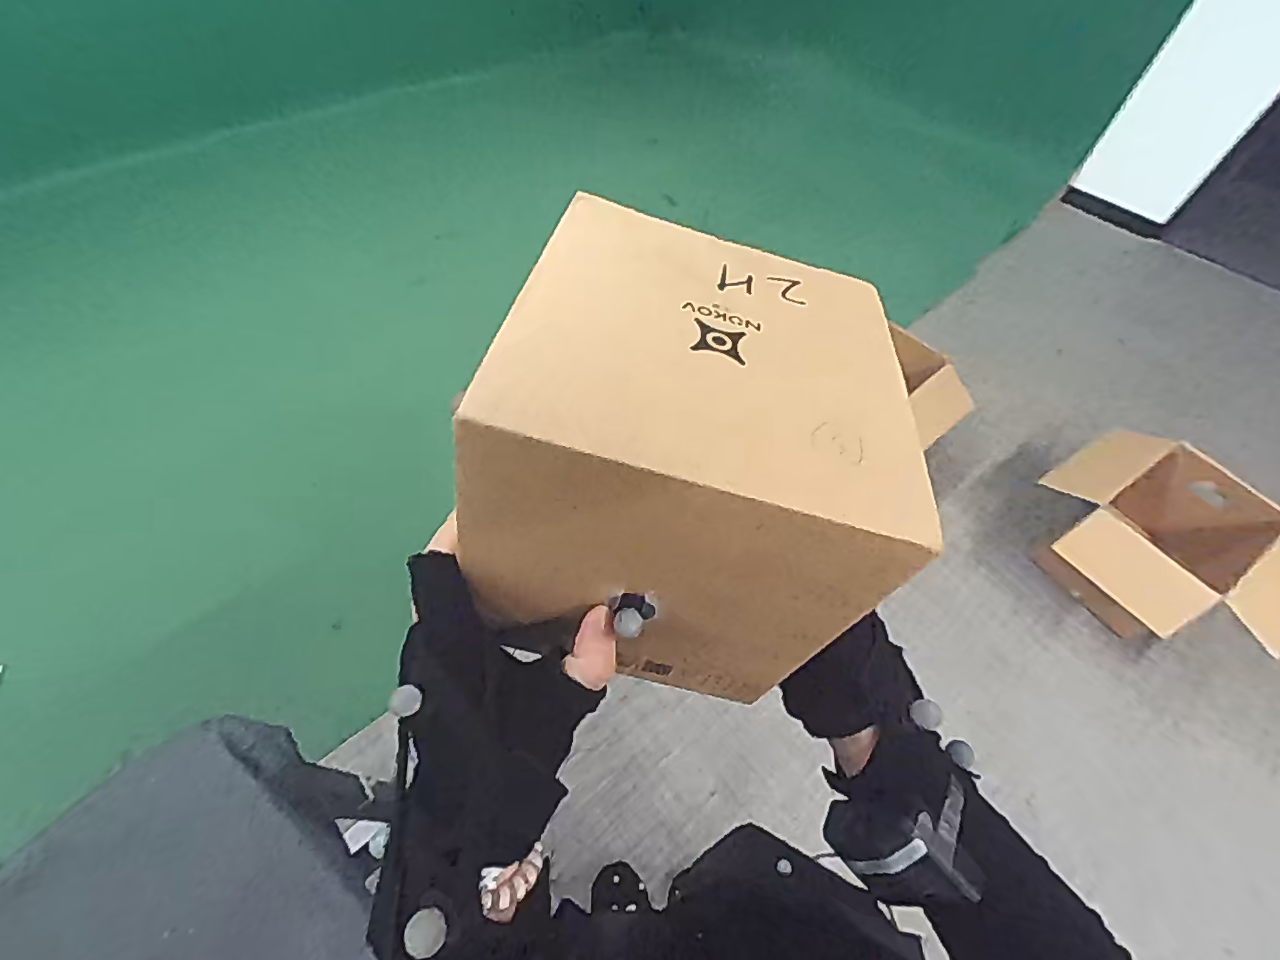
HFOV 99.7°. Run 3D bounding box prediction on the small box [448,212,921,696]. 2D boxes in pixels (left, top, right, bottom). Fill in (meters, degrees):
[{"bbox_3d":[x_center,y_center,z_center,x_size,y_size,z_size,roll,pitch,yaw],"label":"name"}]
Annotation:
[{"bbox_3d":[0.014,-0.005,0.292,0.168,0.176,0.179,15,49,-4],"label":"small box"}]
